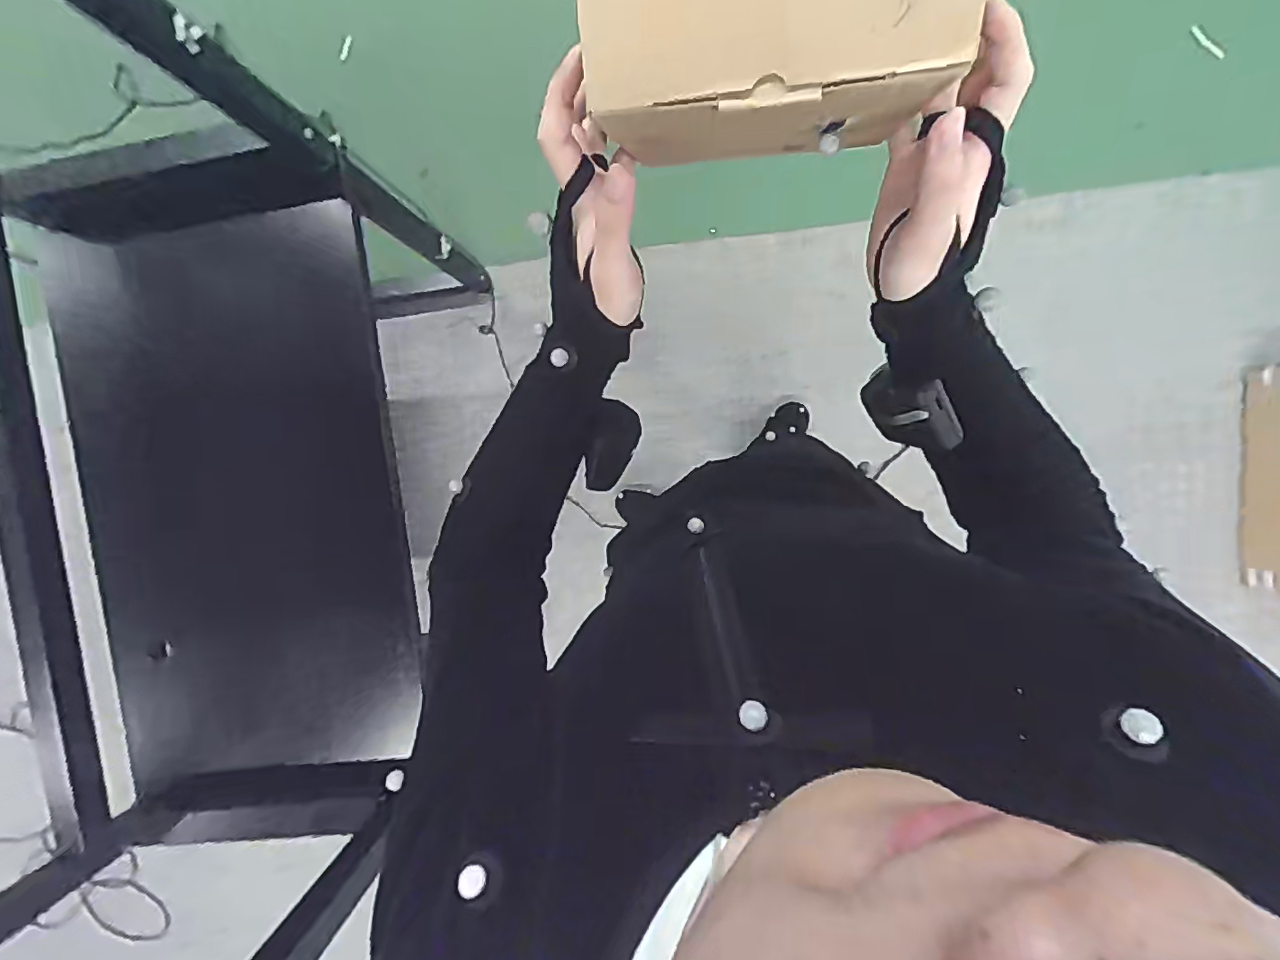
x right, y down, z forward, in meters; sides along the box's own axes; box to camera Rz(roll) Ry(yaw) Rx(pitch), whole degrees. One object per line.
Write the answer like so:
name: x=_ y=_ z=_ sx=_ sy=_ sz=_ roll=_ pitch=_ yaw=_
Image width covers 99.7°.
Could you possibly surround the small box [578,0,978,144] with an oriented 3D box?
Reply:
small box: x=0.066 y=-0.284 z=0.273 sx=0.168 sy=0.176 sz=0.179 roll=2 pitch=113 yaw=11
